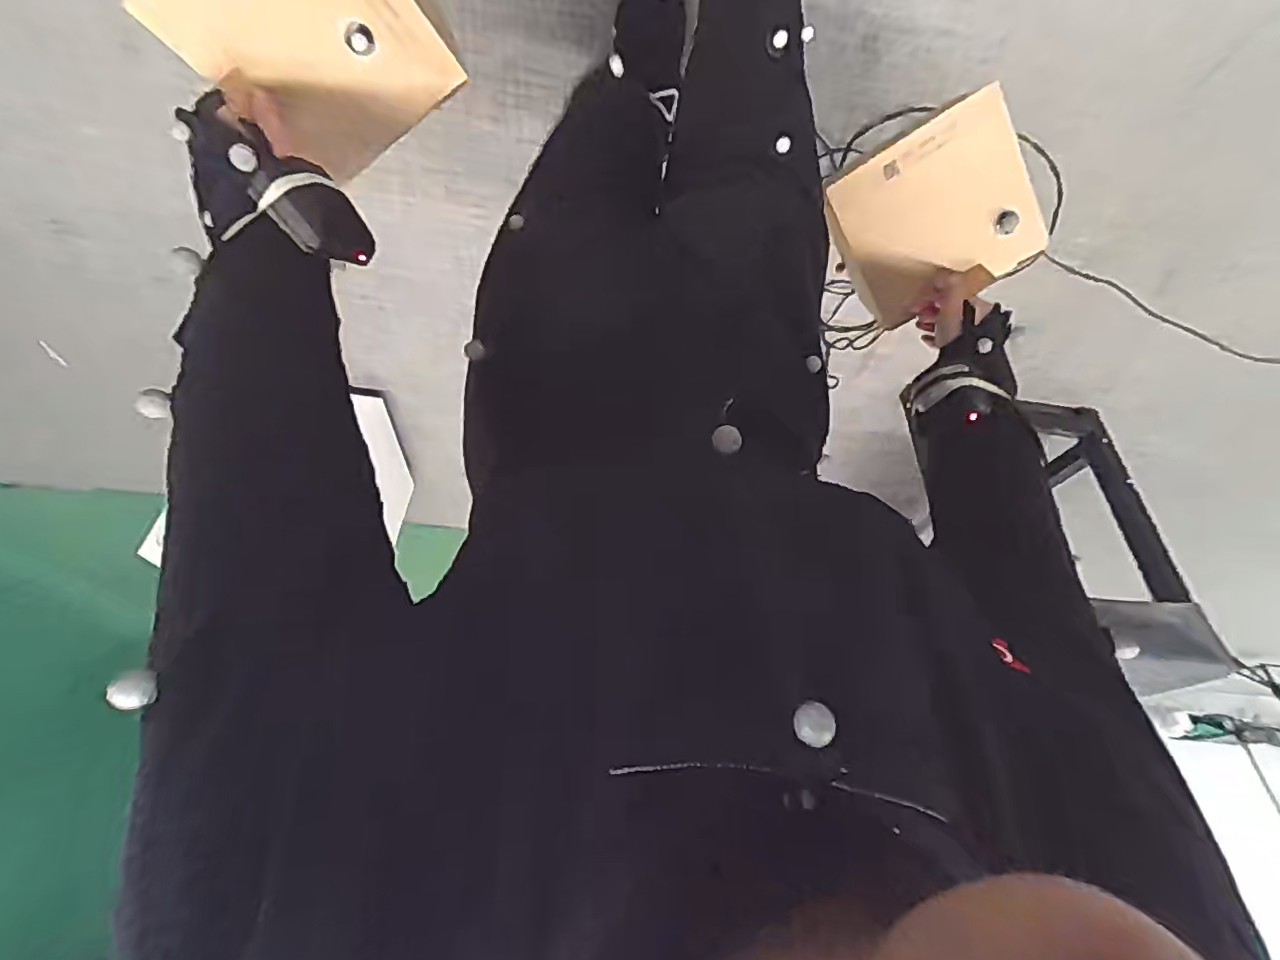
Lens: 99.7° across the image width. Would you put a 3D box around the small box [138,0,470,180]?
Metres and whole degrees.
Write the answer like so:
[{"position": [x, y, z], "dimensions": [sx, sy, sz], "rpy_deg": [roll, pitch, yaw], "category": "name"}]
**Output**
[{"position": [-0.267, -0.407, 0.449], "dimensions": [0.176, 0.179, 0.168], "rpy_deg": [-29, 151, 13], "category": "small box"}]
